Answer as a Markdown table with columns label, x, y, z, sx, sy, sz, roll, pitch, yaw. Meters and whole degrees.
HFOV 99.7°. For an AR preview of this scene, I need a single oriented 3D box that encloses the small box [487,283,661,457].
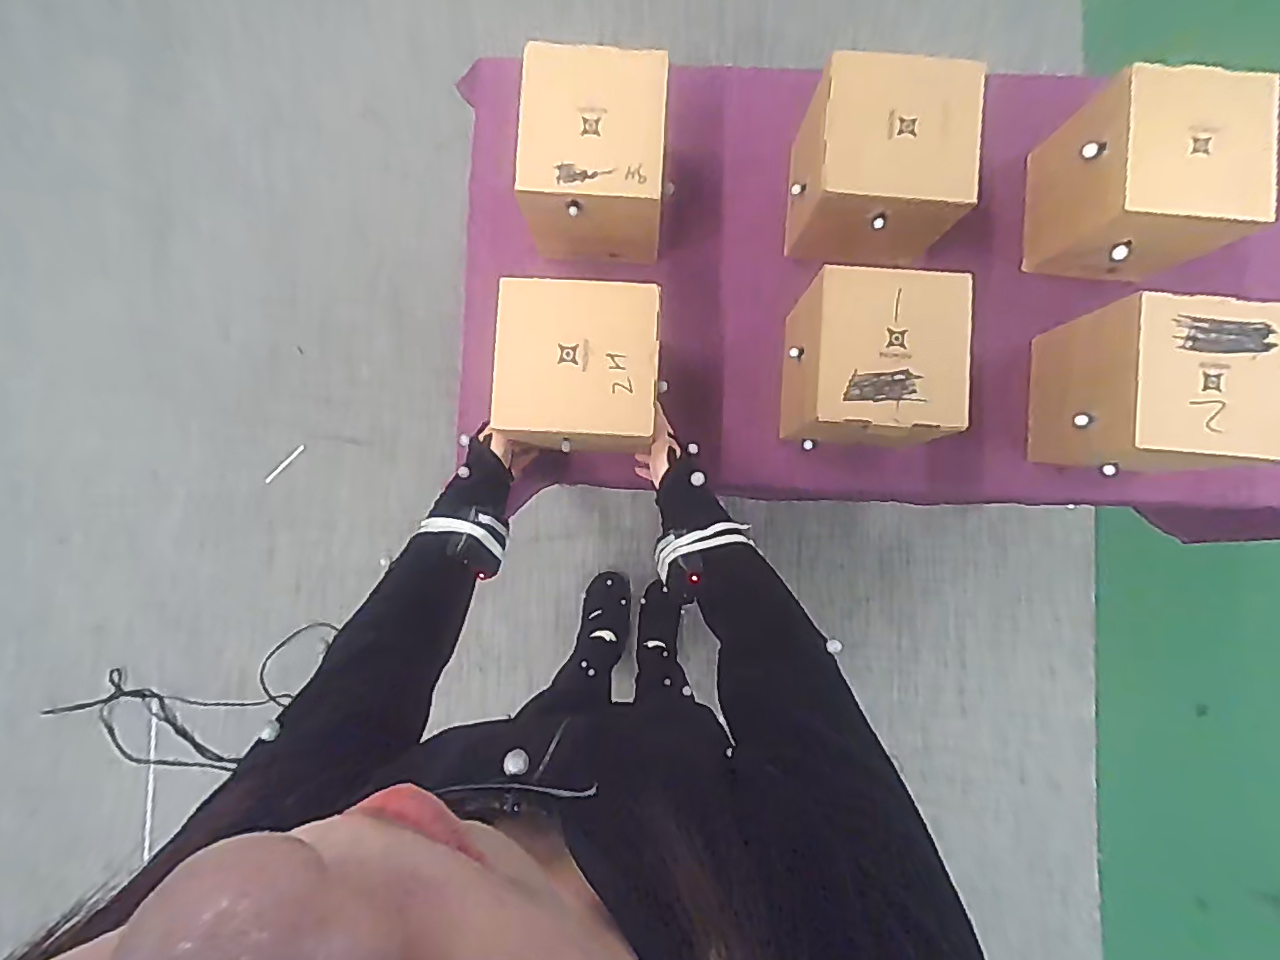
| label | x | y | z | sx | sy | sz | roll | pitch | yaw |
| --- | --- | --- | --- | --- | --- | --- | --- | --- | --- |
| small box | -0.069 | -0.120 | 0.652 | 0.179 | 0.176 | 0.168 | 3 | 86 | 0 |

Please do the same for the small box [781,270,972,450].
| label | x | y | z | sx | sy | sz | roll | pitch | yaw |
| --- | --- | --- | --- | --- | --- | --- | --- | --- | --- |
| small box | 0.278 | -0.135 | 0.669 | 0.168 | 0.176 | 0.179 | 4 | 86 | 1 |

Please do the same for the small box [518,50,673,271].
| label | x | y | z | sx | sy | sz | roll | pitch | yaw |
| --- | --- | --- | --- | --- | --- | --- | --- | --- | --- |
| small box | -0.050 | -0.394 | 0.691 | 0.168 | 0.176 | 0.179 | 4 | 86 | 1 |

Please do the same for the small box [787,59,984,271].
| label | x | y | z | sx | sy | sz | roll | pitch | yaw |
| --- | --- | --- | --- | --- | --- | --- | --- | --- | --- |
| small box | 0.296 | -0.384 | 0.686 | 0.179 | 0.176 | 0.168 | 6 | 87 | 1 |

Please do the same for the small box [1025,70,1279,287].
| label | x | y | z | sx | sy | sz | roll | pitch | yaw |
| --- | --- | --- | --- | --- | --- | --- | --- | --- | --- |
| small box | 0.623 | -0.362 | 0.679 | 0.168 | 0.176 | 0.179 | 6 | 86 | 2 |
